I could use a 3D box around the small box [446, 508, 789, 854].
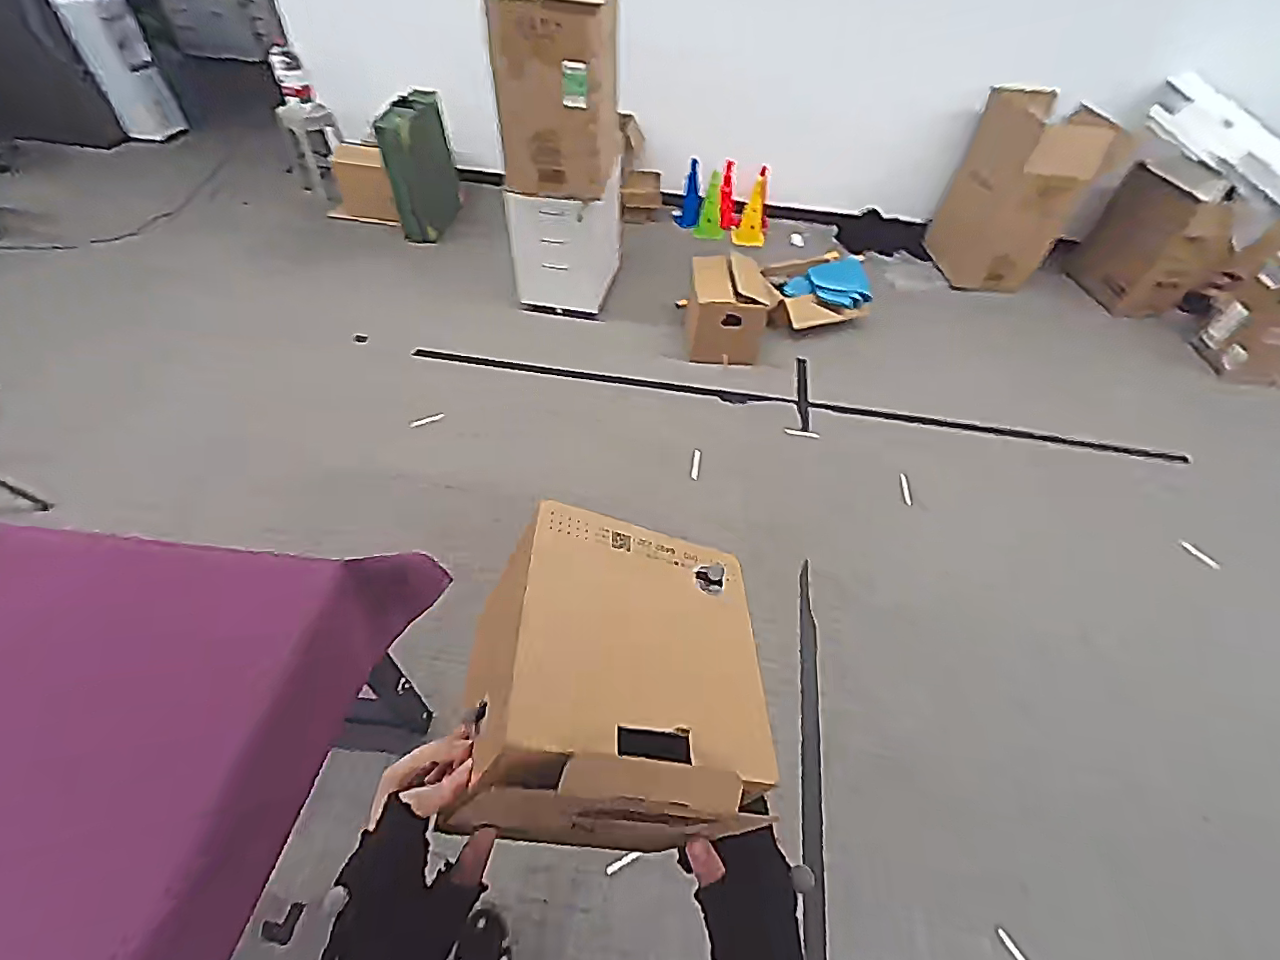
[{"bbox_3d":[-0.023,0.148,0.399,0.168,0.179,0.176,20,39,-17],"label":"small box"}]
